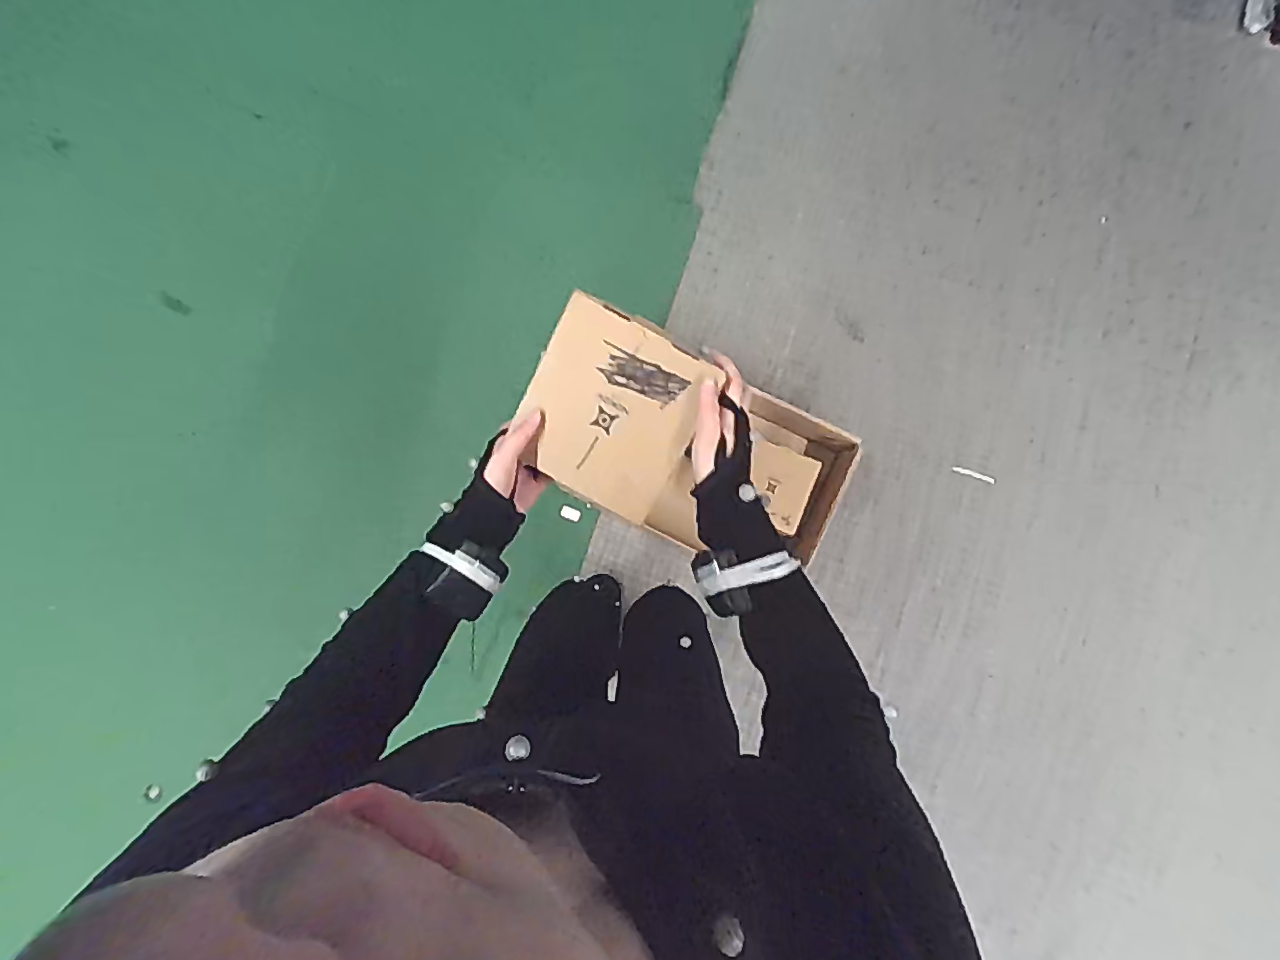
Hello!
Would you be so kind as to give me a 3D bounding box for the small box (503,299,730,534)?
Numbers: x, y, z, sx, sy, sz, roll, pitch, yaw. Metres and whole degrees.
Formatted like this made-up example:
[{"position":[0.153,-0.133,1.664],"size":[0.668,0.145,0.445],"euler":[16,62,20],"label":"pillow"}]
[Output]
[{"position":[-0.018,-0.075,0.595],"size":[0.168,0.176,0.179],"euler":[30,106,0],"label":"small box"}]
